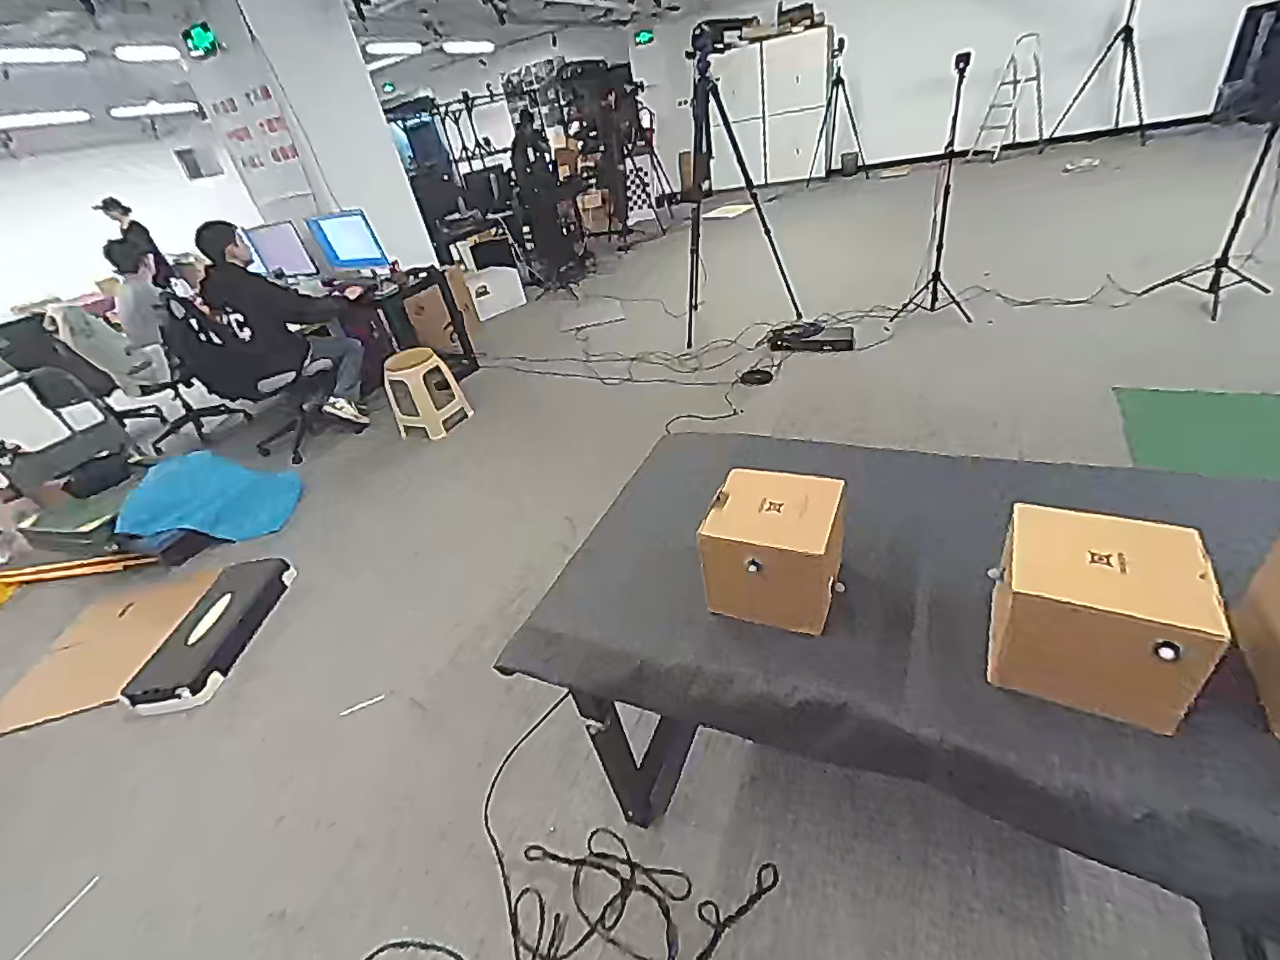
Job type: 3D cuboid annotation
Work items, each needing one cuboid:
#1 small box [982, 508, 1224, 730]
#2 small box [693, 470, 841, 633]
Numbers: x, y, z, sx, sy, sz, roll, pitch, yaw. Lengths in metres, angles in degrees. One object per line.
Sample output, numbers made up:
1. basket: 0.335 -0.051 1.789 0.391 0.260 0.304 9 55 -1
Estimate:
1. small box: 0.522 0.159 0.640 0.179 0.176 0.168 11 39 29
2. small box: 0.197 0.105 0.818 0.179 0.176 0.168 8 39 26
